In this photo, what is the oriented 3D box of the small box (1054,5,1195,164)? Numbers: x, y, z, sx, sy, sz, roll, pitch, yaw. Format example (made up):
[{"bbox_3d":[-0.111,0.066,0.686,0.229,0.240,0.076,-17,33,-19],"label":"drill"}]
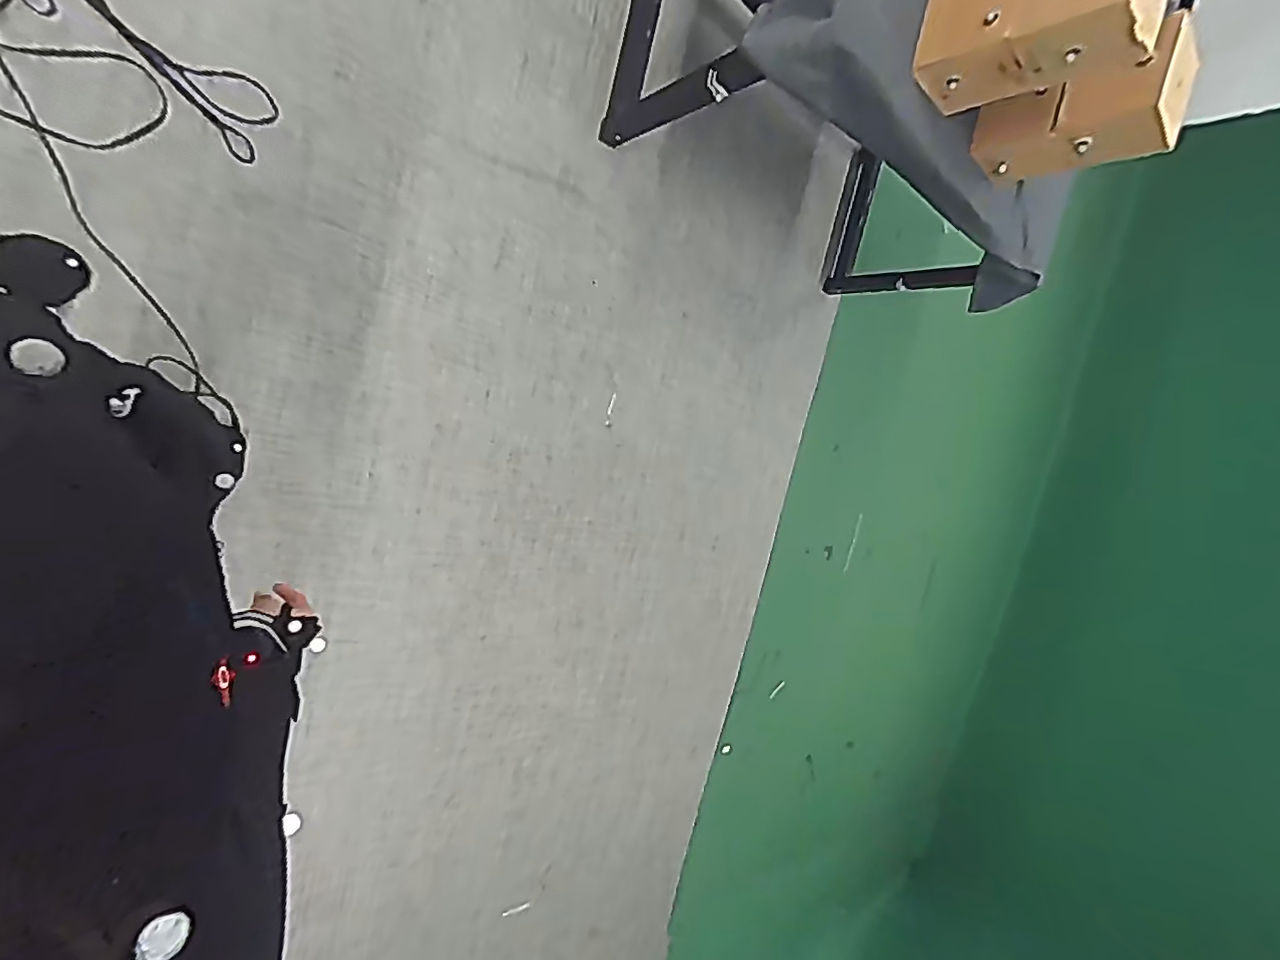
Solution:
[{"bbox_3d":[0.971,-0.780,1.090,0.168,0.176,0.179,10,96,-39],"label":"small box"}]

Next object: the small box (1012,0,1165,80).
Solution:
[{"bbox_3d":[0.752,-0.819,0.904,0.168,0.176,0.179,4,101,-40],"label":"small box"}]

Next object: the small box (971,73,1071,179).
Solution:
[{"bbox_3d":[0.875,-0.814,1.215,0.168,0.176,0.179,8,97,-40],"label":"small box"}]

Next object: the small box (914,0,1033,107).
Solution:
[{"bbox_3d":[0.649,-0.858,1.024,0.168,0.176,0.179,6,99,-40],"label":"small box"}]
